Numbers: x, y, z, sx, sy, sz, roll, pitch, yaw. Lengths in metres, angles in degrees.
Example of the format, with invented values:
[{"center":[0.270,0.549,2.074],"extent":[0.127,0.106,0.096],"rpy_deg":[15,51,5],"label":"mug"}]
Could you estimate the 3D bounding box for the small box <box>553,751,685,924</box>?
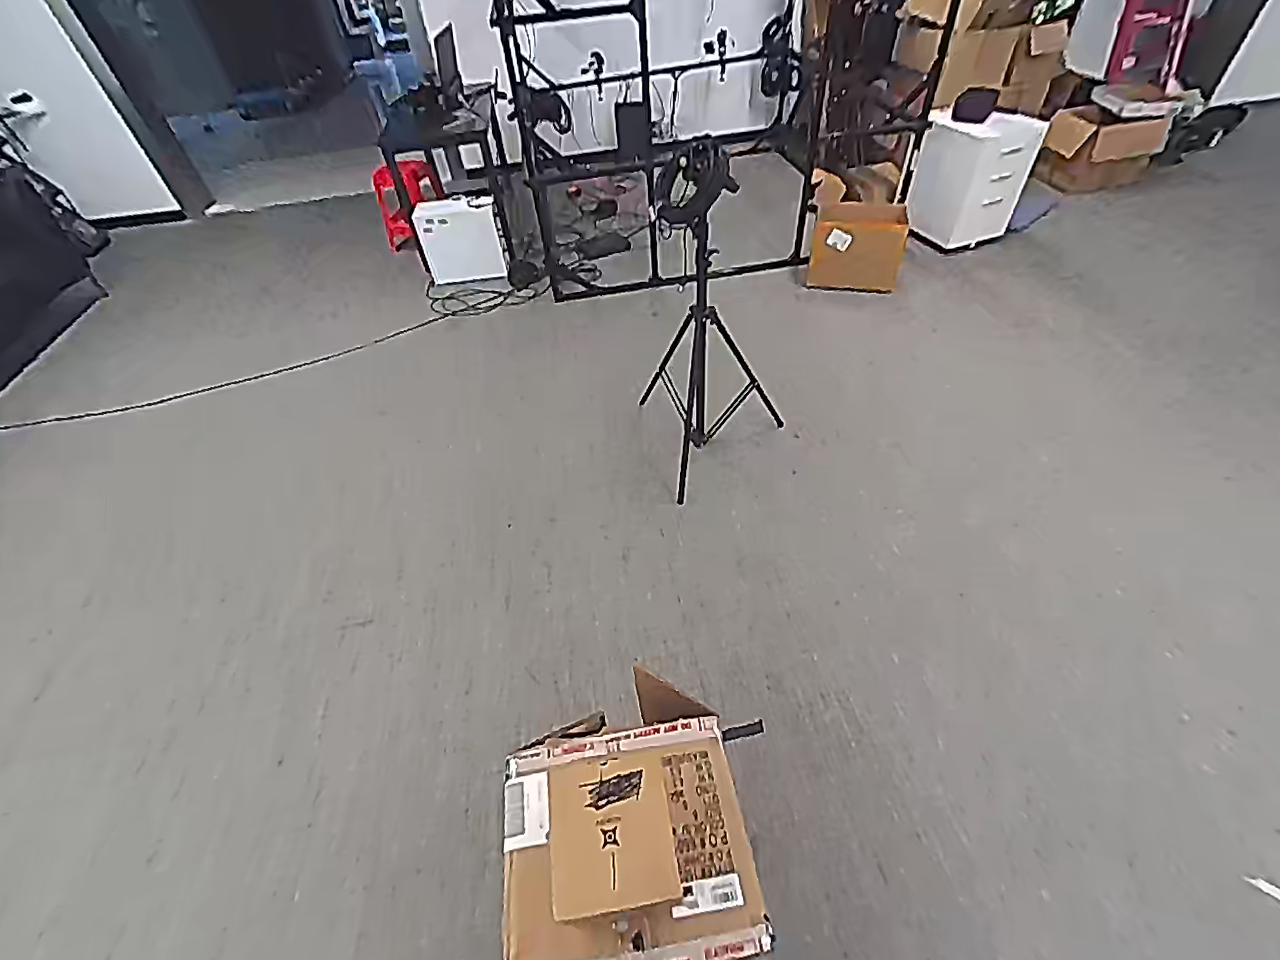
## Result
[{"center":[-0.031,0.523,0.791],"extent":[0.168,0.176,0.179],"rpy_deg":[-9,50,-2],"label":"small box"}]
